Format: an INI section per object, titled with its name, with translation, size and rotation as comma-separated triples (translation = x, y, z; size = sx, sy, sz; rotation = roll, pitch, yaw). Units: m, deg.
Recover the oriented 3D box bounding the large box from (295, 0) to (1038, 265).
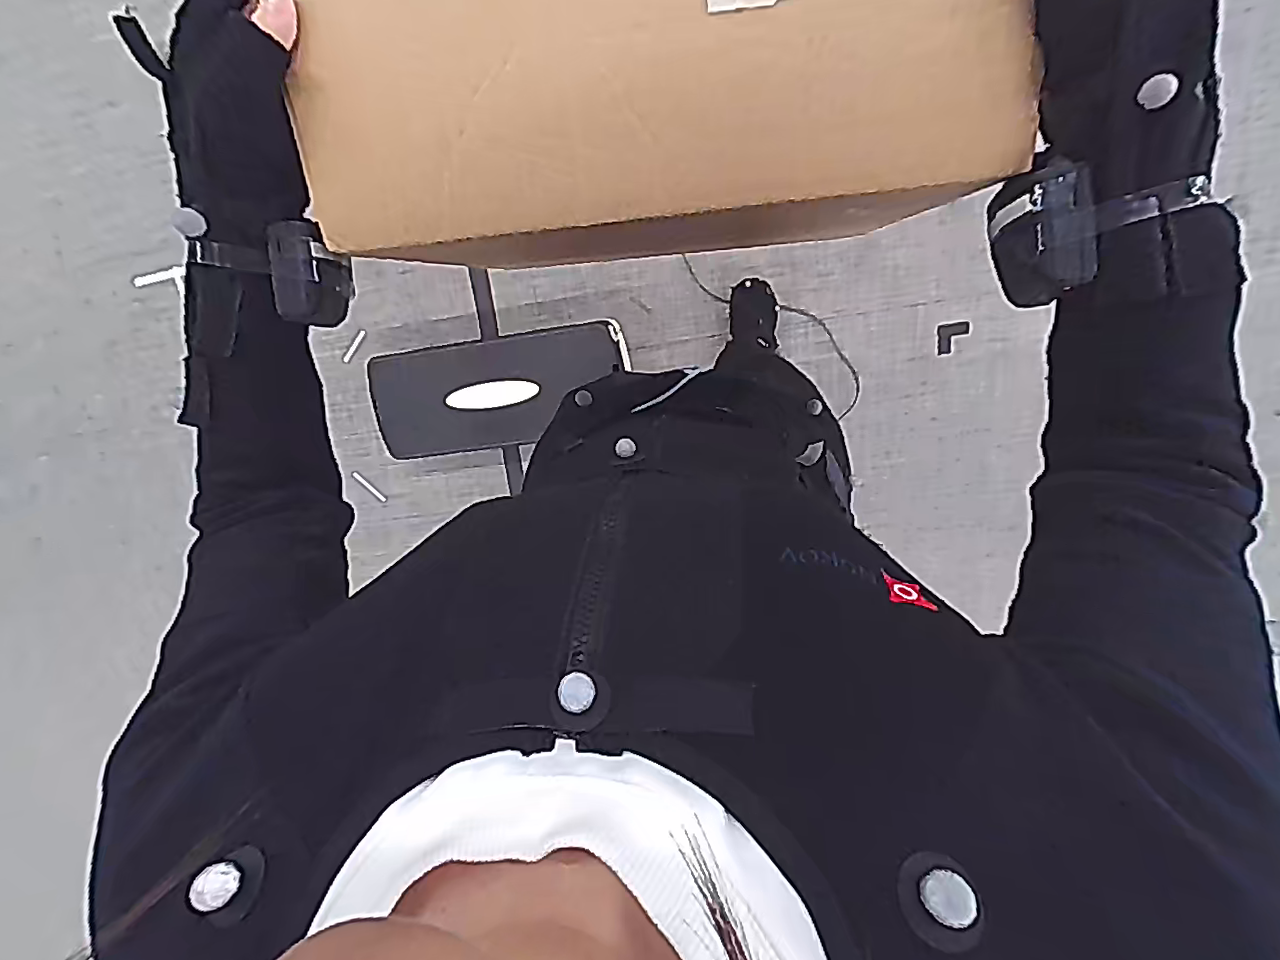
[large box]
translation = 0.012, -0.359, 0.414
size = 0.408, 0.320, 0.320
rotation = -4, 109, 7
